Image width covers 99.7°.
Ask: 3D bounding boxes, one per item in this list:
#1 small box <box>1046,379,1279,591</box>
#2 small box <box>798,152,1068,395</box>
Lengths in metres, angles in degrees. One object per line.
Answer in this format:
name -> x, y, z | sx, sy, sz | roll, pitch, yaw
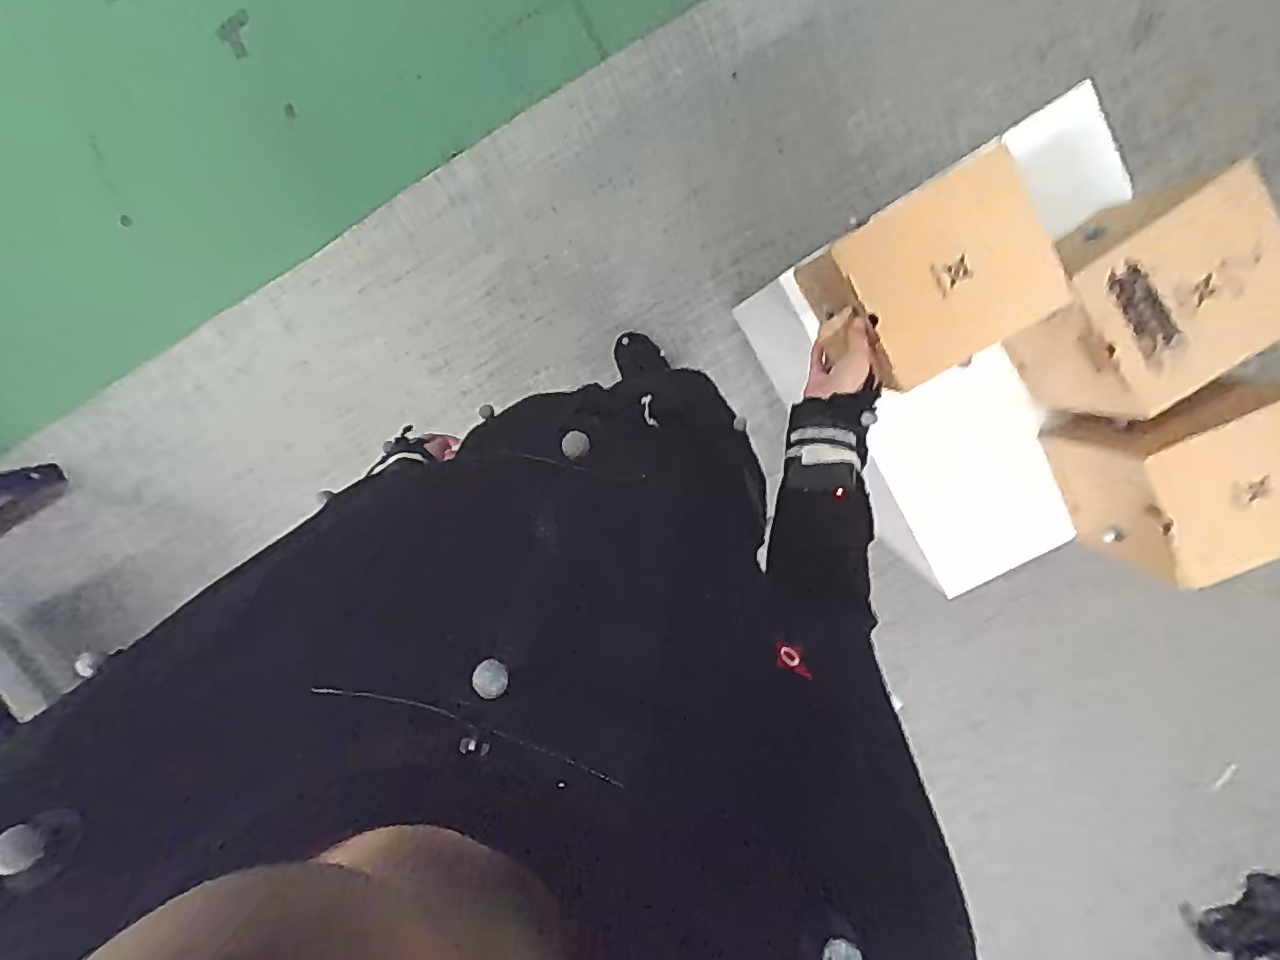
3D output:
small box -> 0.621, -0.005, 0.630 | 0.179, 0.176, 0.168 | -27, 101, 8
small box -> 0.303, -0.212, 0.597 | 0.179, 0.176, 0.168 | -29, 100, 8
